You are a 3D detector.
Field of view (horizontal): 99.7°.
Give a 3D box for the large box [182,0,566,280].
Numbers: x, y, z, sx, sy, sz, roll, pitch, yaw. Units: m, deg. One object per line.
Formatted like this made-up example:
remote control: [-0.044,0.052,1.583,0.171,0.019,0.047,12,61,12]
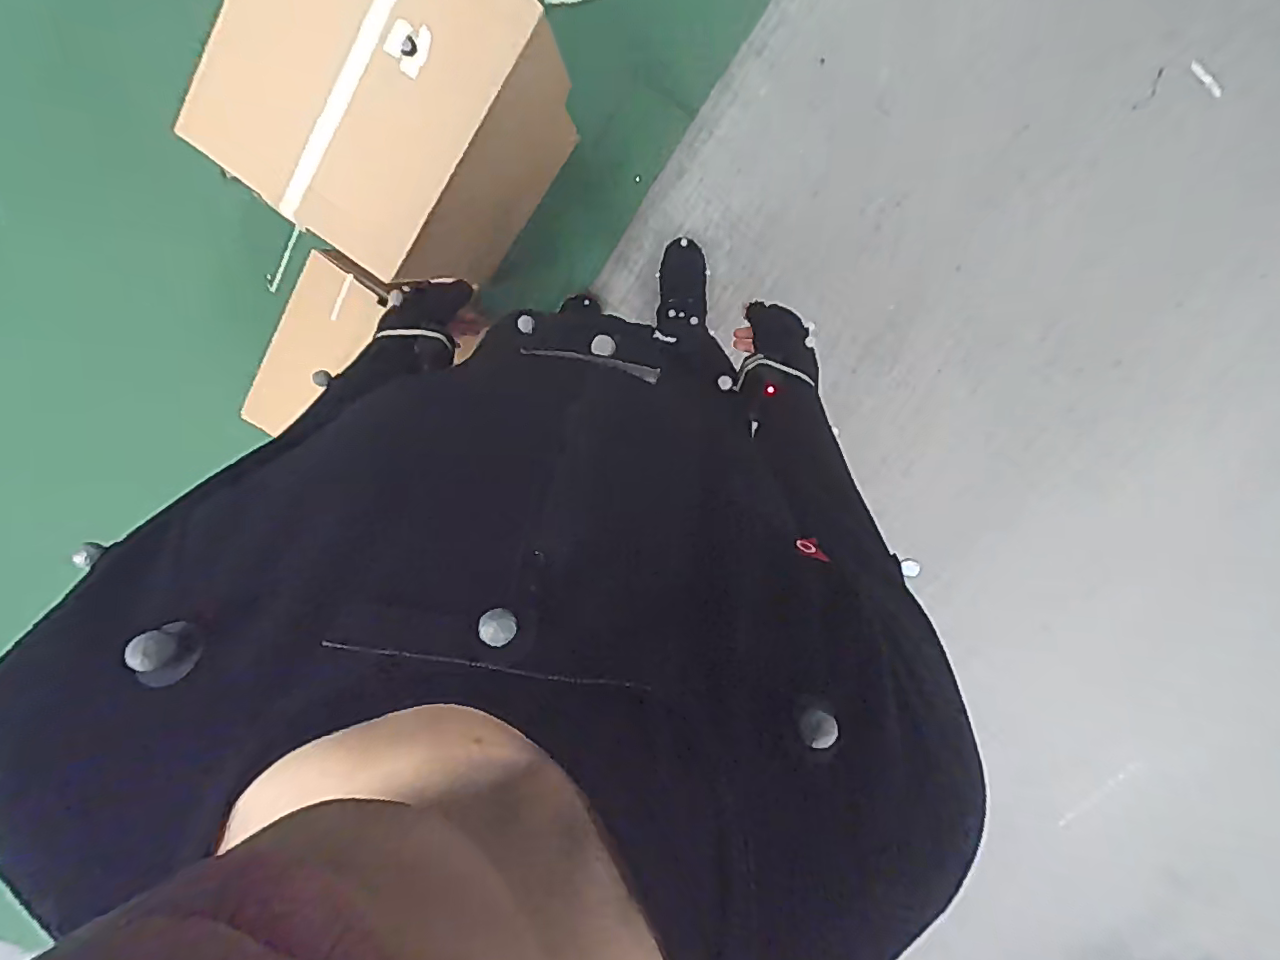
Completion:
large box: [-0.360,-0.565,0.818,0.320,0.320,0.408,35,106,-14]
